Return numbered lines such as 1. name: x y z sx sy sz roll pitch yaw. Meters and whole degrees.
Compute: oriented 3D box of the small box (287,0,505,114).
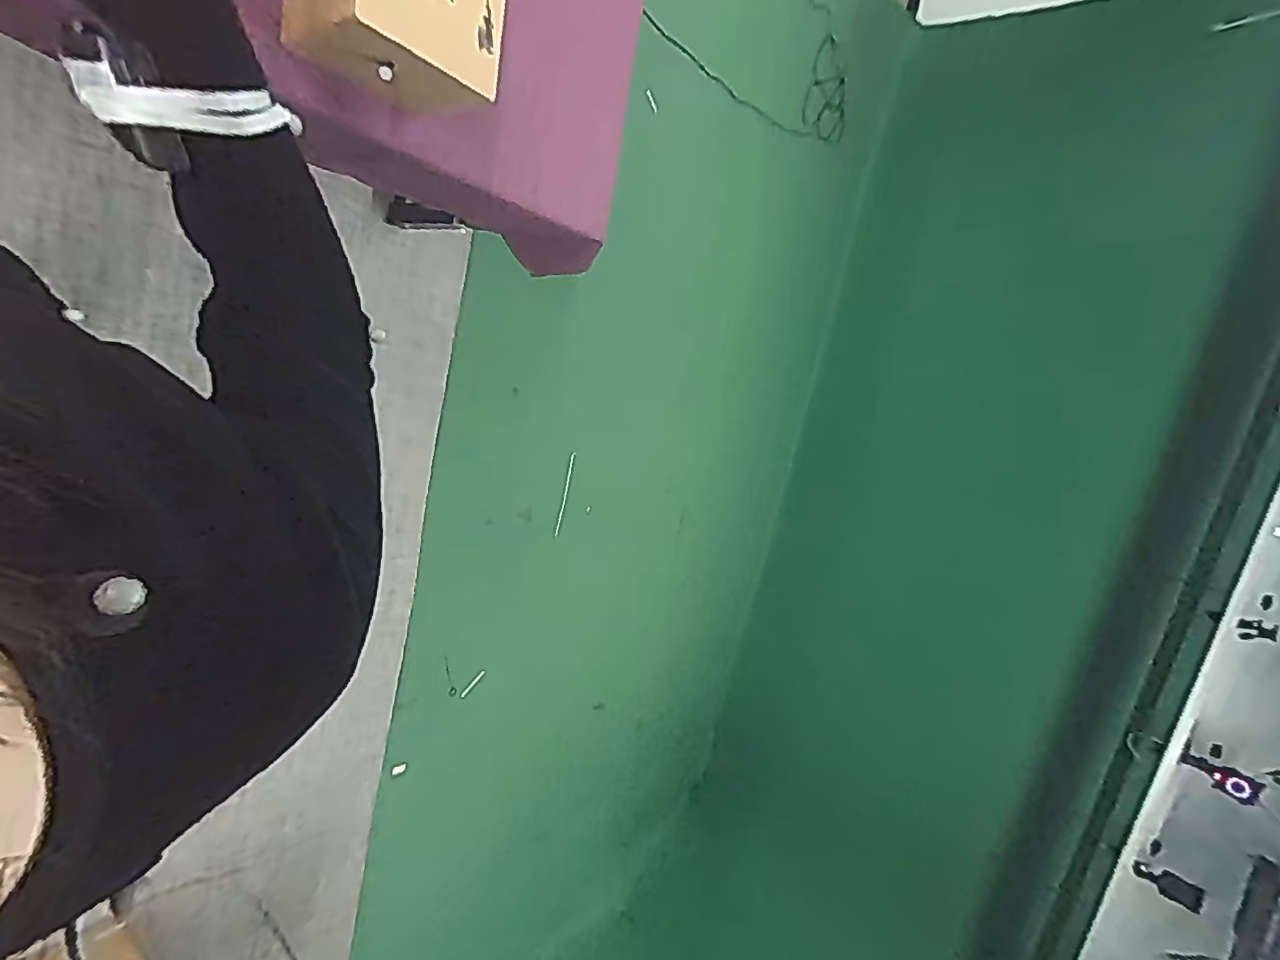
1. small box: -0.279 -0.551 0.621 0.179 0.176 0.168 -6 110 -52
